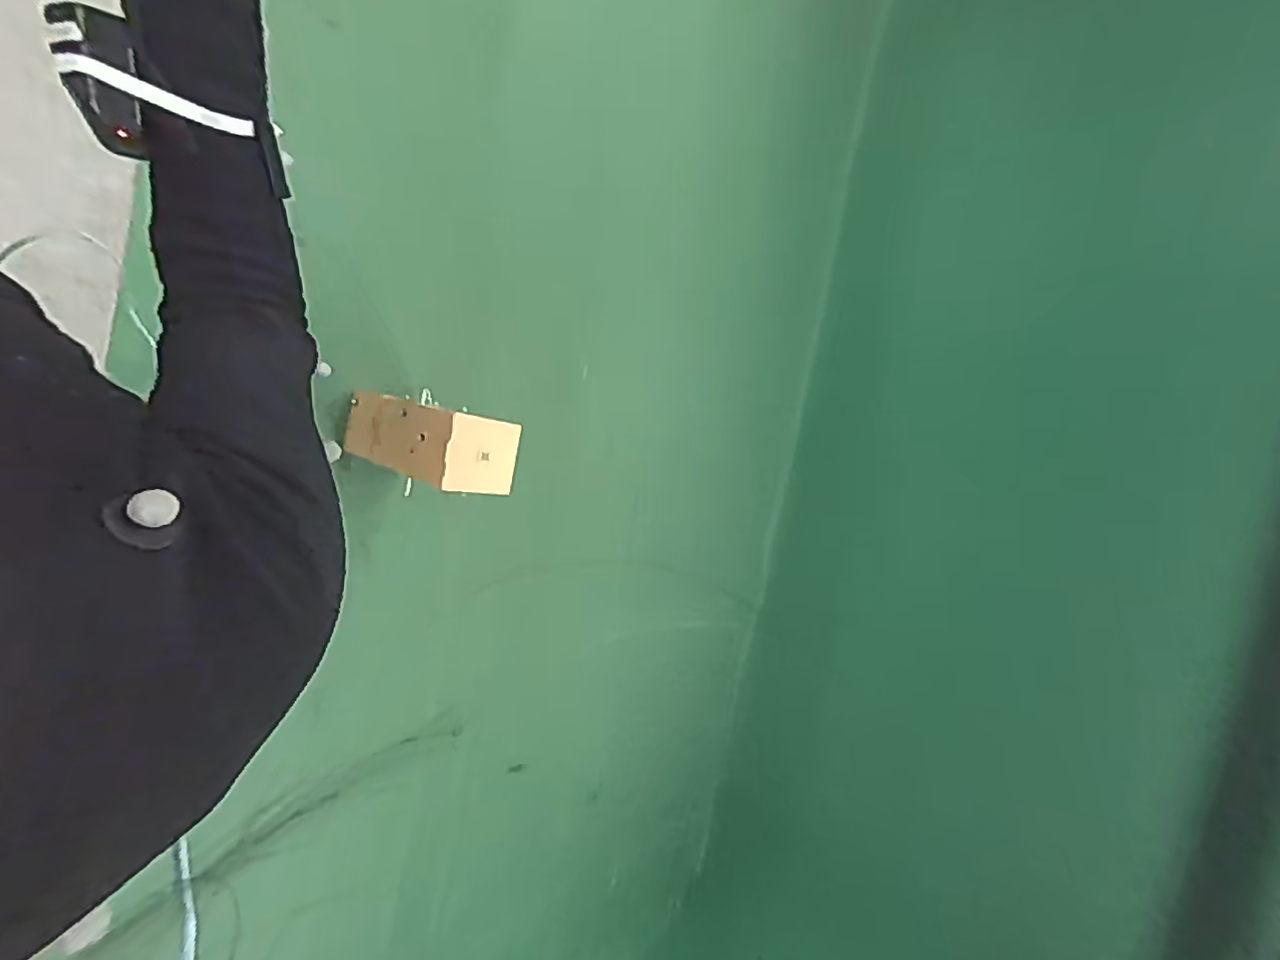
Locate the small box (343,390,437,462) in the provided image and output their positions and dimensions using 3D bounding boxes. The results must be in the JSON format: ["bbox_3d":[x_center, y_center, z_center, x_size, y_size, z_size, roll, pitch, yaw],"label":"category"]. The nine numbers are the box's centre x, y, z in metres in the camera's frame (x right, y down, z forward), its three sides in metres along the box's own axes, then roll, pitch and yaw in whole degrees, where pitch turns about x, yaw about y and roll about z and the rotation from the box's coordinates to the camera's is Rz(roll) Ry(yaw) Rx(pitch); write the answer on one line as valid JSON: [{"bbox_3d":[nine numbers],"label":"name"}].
[{"bbox_3d":[-0.659,-0.139,1.438,0.179,0.176,0.168,11,93,-51],"label":"small box"}]

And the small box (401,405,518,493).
[{"bbox_3d":[-0.412,-0.071,1.234,0.179,0.176,0.168,7,96,-51],"label":"small box"}]
